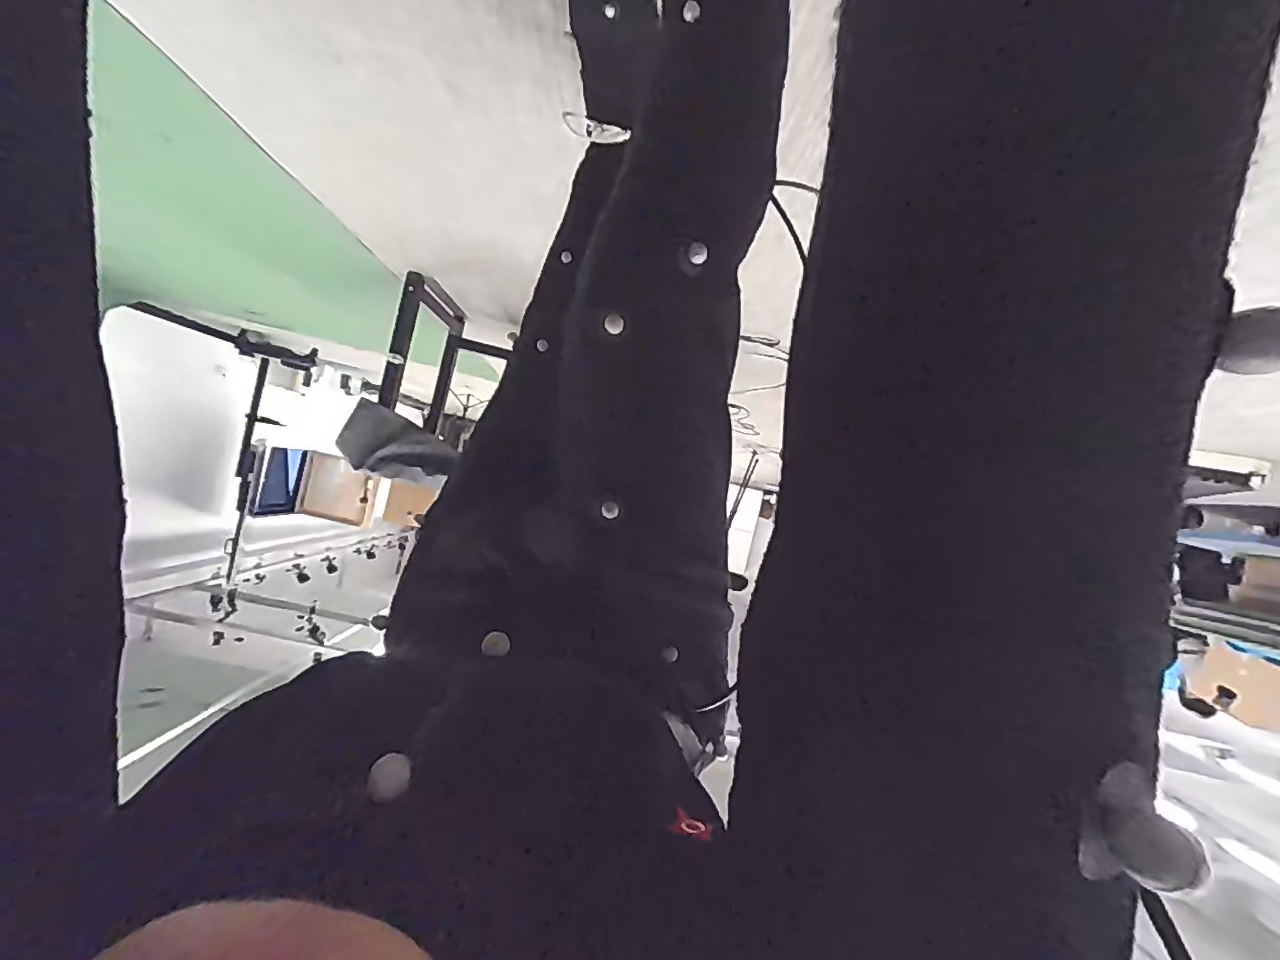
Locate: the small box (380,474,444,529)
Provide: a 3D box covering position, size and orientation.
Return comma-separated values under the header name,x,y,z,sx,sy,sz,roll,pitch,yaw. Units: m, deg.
name,x,y,z,sx,sy,sz,roll,pitch,yaw
small box,-0.856,0.079,2.047,0.179,0.176,0.168,14,178,-9
